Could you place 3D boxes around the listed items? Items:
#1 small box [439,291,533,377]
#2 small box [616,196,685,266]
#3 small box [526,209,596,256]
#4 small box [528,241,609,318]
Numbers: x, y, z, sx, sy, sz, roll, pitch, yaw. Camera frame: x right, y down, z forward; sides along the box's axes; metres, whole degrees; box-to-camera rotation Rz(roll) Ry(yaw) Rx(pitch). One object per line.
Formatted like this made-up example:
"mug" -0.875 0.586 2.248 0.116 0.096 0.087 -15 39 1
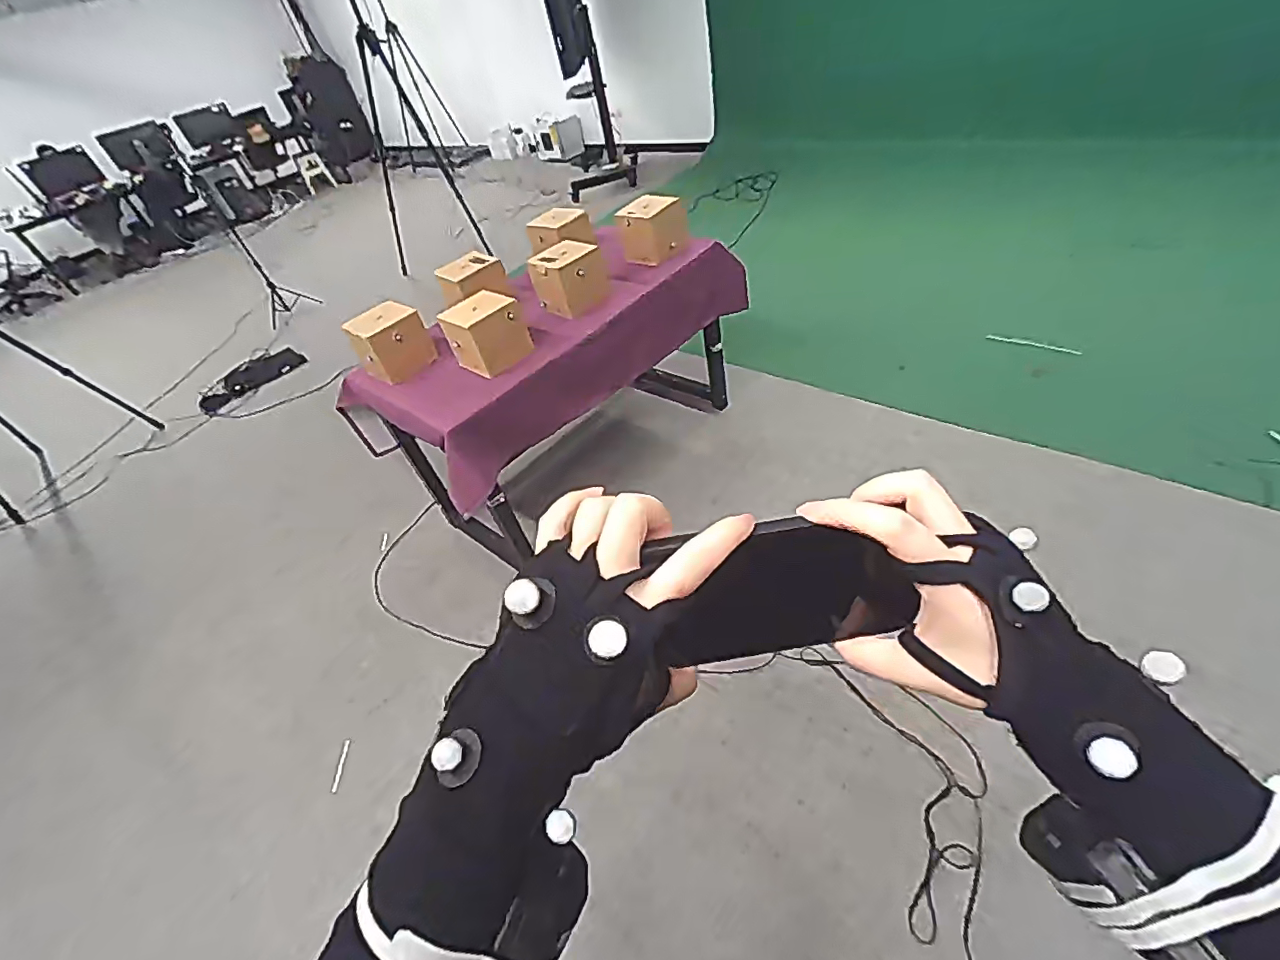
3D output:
"small box" -0.441 -0.424 1.575 0.168 0.176 0.179 27 56 36
"small box" 0.043 -0.879 1.906 0.168 0.176 0.179 24 56 35
"small box" -0.287 -0.889 2.009 0.179 0.176 0.168 23 56 33
"small box" -0.224 -0.646 1.742 0.168 0.176 0.179 29 58 37
